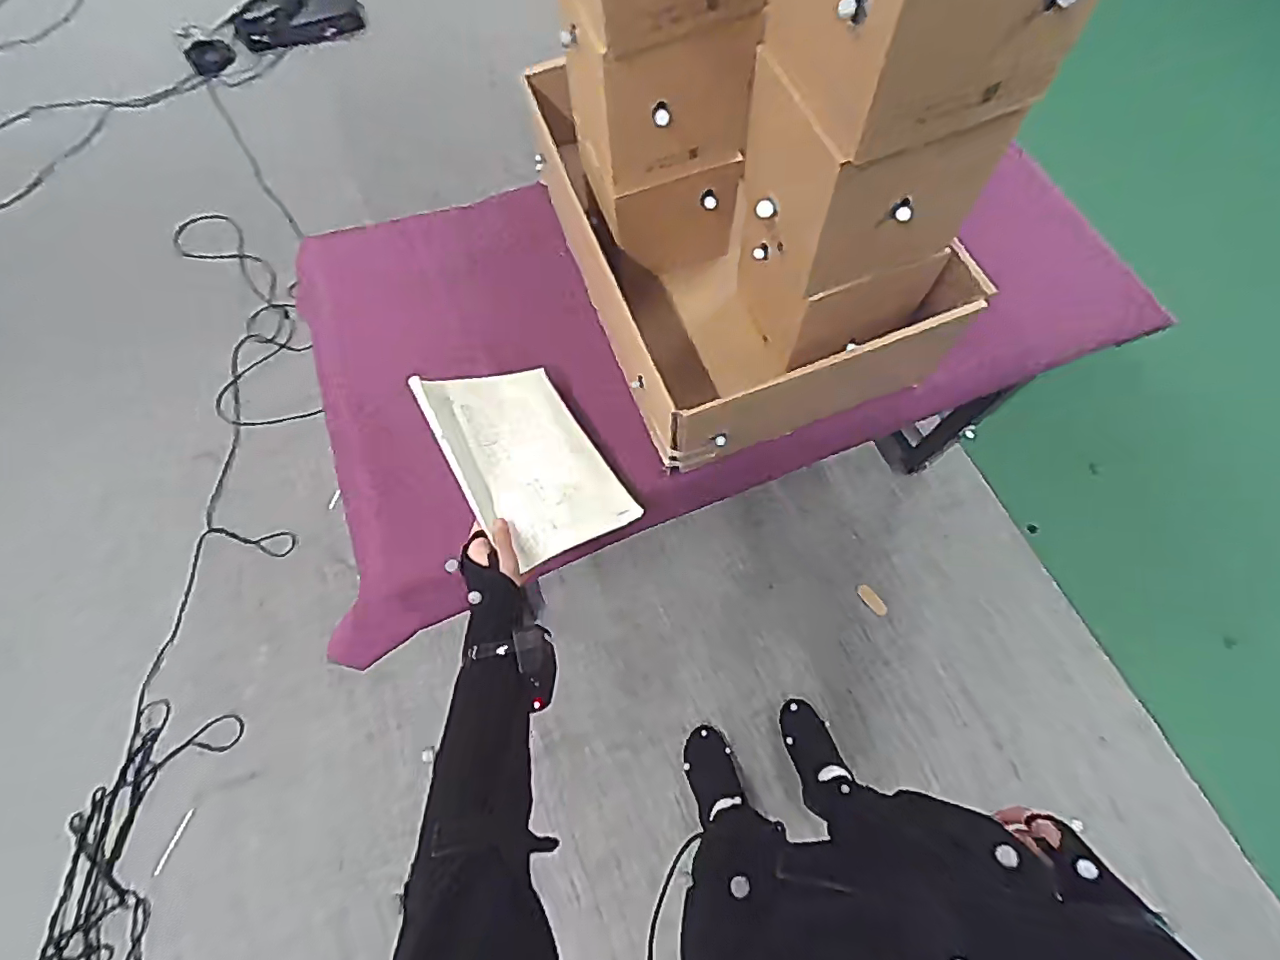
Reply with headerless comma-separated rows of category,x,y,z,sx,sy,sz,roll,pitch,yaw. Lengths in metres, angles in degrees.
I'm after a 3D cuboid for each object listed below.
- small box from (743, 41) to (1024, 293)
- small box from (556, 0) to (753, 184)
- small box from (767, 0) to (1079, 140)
small box,0.218,-0.325,0.543,0.179,0.176,0.168,-20,68,-2
small box,0.013,-0.473,0.618,0.168,0.176,0.179,-19,71,-4
small box,0.207,-0.383,0.391,0.168,0.176,0.179,-19,68,-3
